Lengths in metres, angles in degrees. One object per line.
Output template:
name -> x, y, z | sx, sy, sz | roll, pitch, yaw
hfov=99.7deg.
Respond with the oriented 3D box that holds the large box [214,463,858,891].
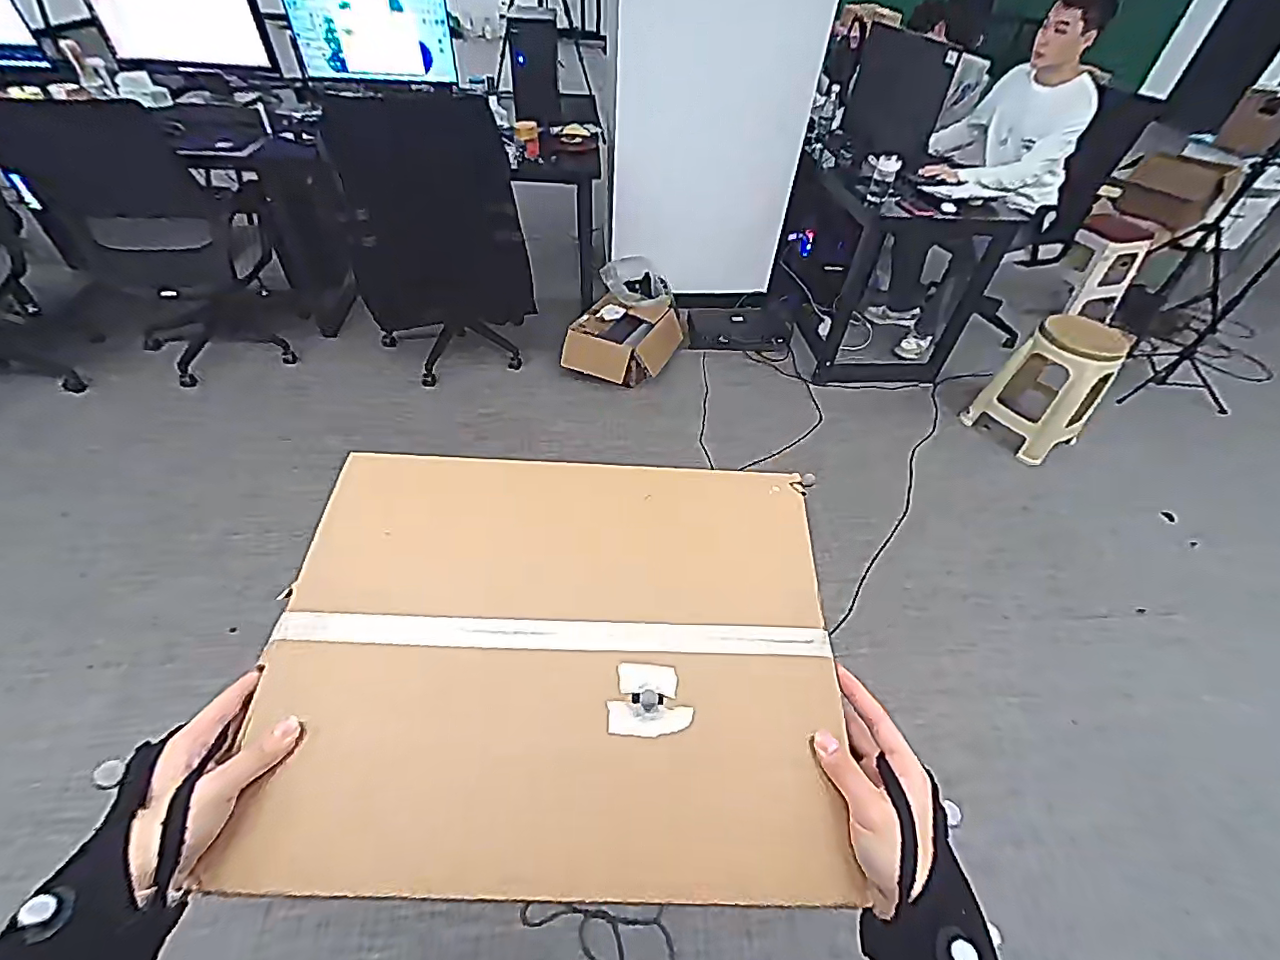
large box -> -0.067, 0.201, 0.536 | 0.408, 0.320, 0.320 | 3, 57, -2
